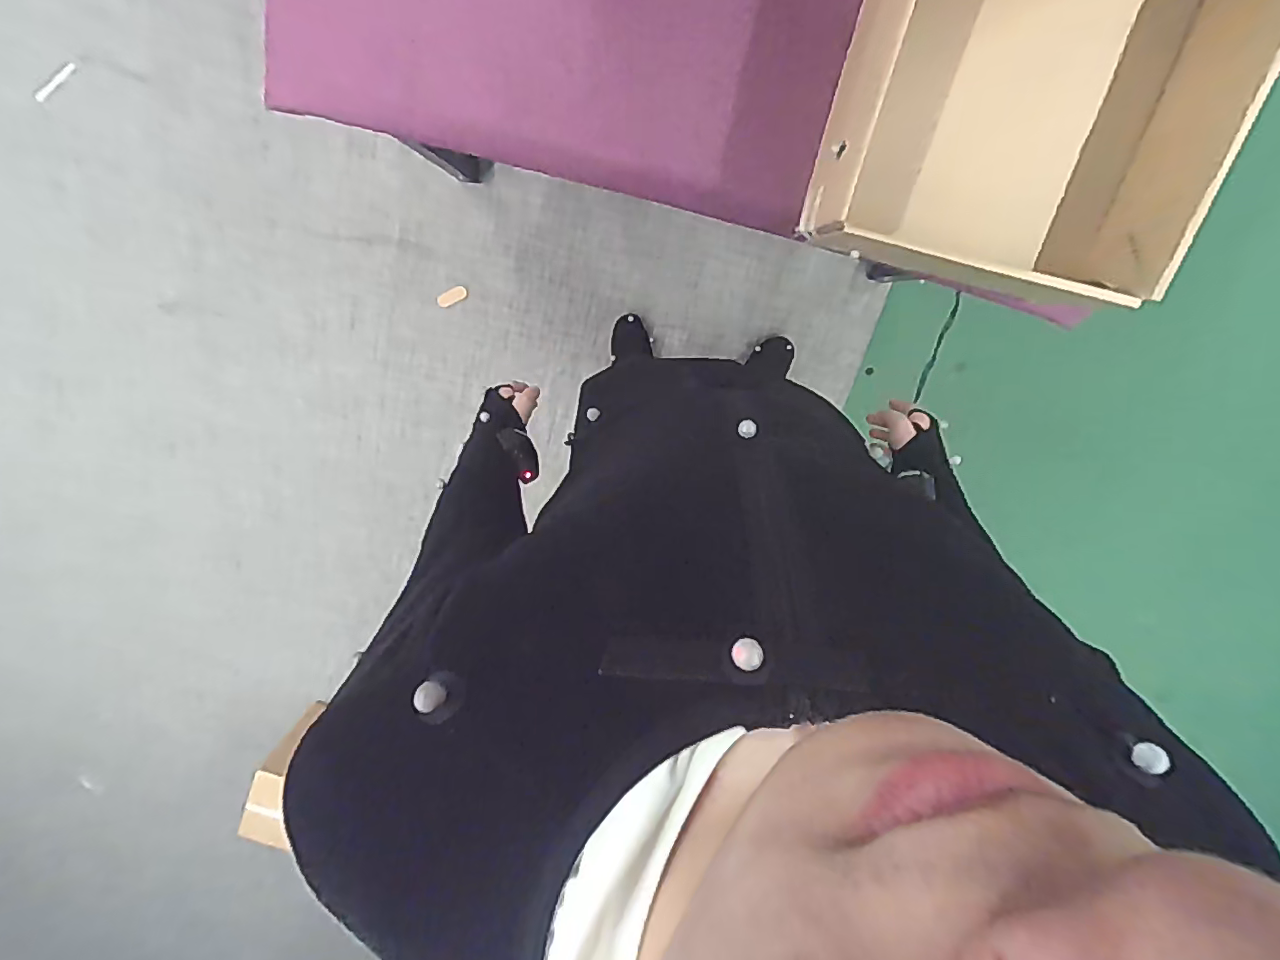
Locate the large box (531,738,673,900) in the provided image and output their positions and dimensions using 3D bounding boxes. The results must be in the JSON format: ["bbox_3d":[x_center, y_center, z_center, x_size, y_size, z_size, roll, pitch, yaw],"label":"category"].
[{"bbox_3d":[-0.125,1.192,1.923,0.408,0.320,0.320,-18,108,5],"label":"large box"}]
